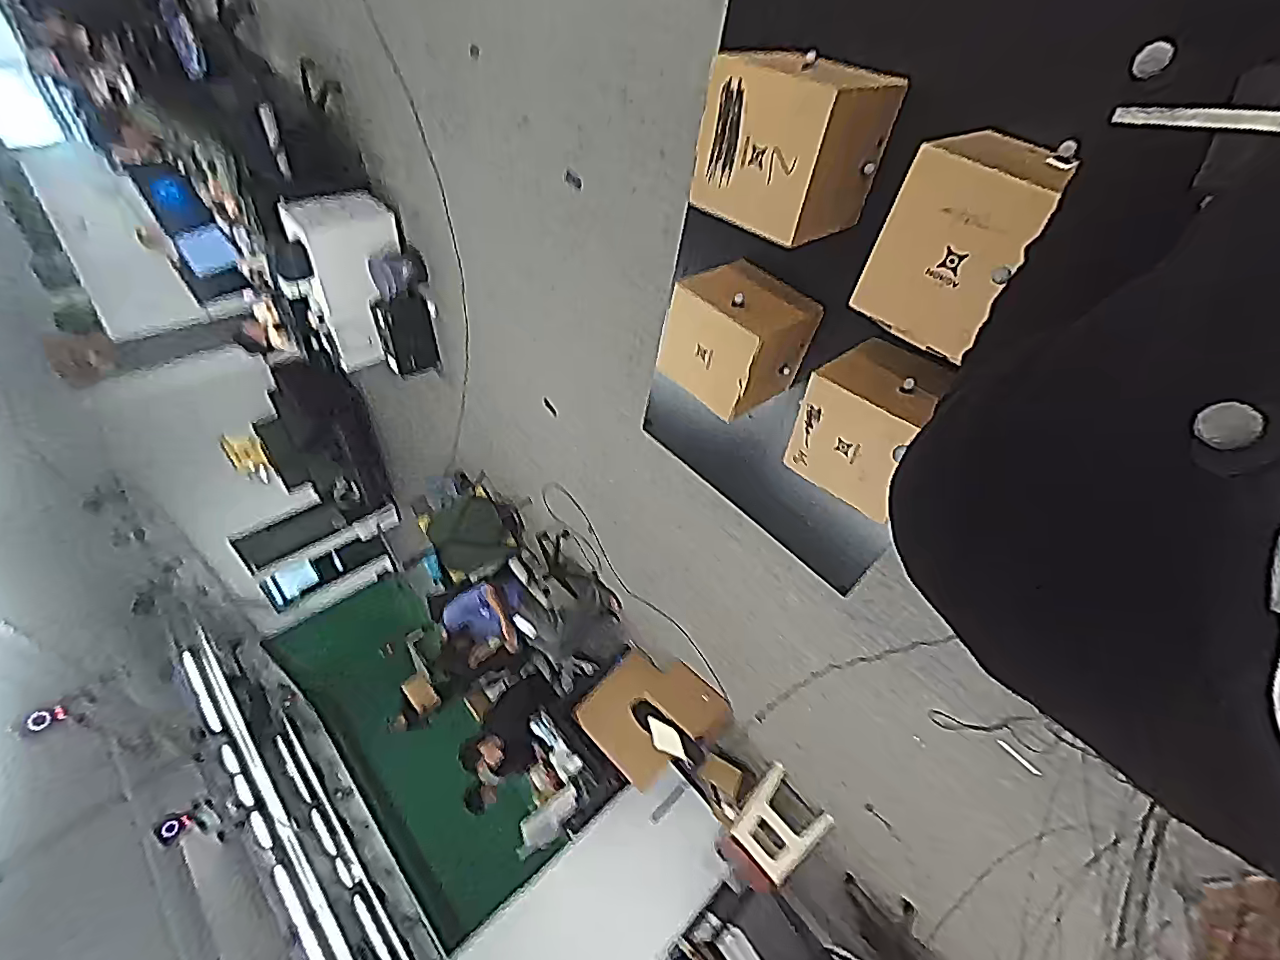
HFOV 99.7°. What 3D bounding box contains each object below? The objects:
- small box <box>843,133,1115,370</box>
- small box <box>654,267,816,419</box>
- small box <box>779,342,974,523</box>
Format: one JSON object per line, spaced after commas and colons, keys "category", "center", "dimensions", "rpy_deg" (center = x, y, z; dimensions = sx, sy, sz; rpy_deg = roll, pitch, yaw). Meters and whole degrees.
{"category": "small box", "center": [0.366, -0.256, 0.595], "dimensions": [0.168, 0.176, 0.179], "rpy_deg": [41, 142, 26]}
{"category": "small box", "center": [0.153, -0.236, 0.901], "dimensions": [0.179, 0.176, 0.168], "rpy_deg": [42, 144, 24]}
{"category": "small box", "center": [0.336, -0.077, 0.777], "dimensions": [0.179, 0.176, 0.168], "rpy_deg": [38, 142, 30]}
